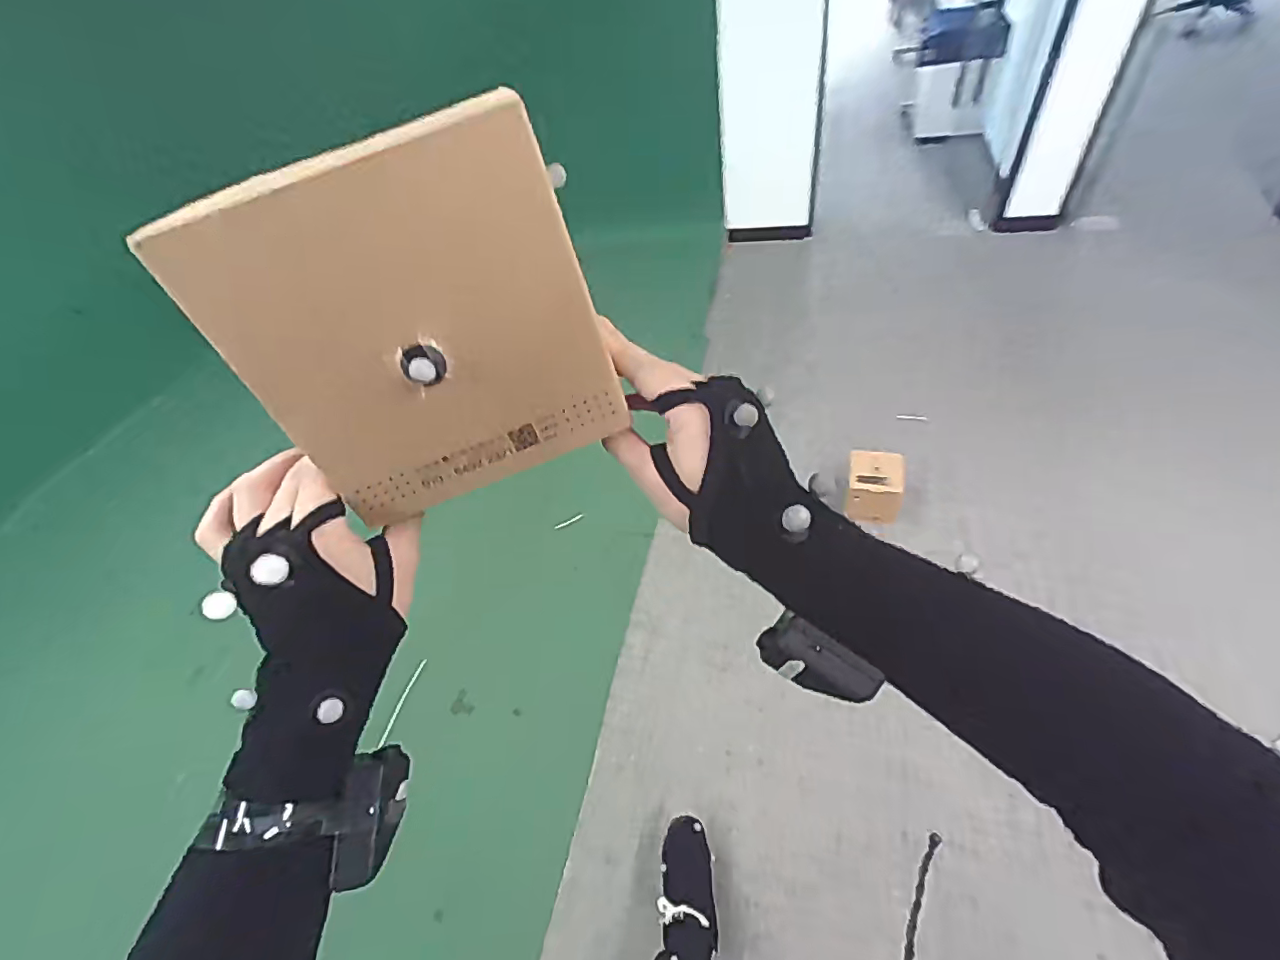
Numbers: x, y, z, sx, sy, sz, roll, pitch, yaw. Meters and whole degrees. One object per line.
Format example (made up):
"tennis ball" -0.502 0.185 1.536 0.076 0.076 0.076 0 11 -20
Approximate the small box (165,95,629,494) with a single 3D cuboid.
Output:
"small box" -0.117 -0.112 0.336 0.168 0.176 0.179 -21 38 -2
